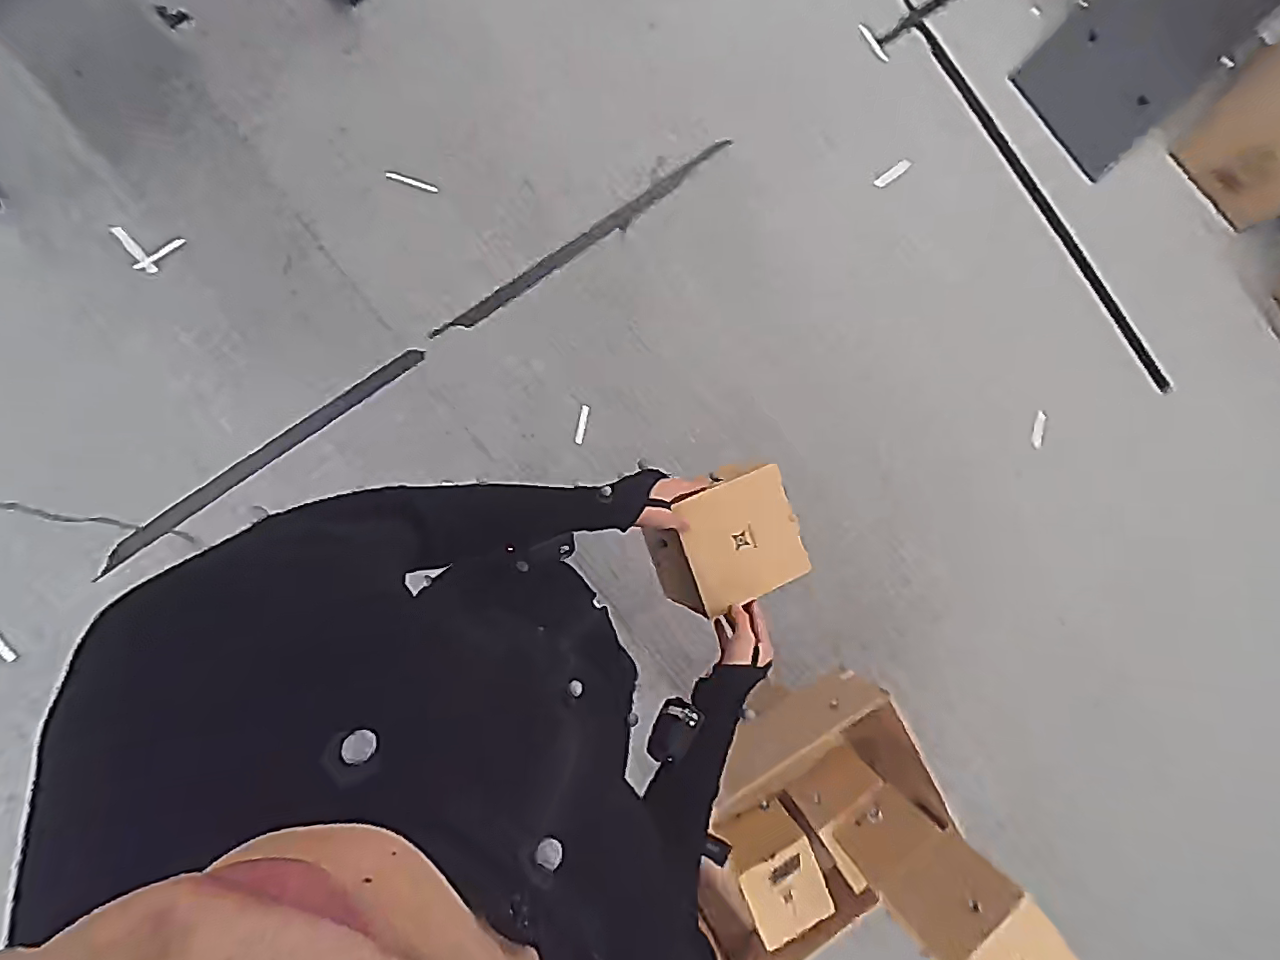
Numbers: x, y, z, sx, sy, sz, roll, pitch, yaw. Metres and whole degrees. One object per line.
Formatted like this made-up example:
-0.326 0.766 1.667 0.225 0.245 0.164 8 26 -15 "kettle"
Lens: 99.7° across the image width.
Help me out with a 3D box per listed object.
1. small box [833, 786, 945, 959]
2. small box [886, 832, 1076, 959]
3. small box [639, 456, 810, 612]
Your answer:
0.521 0.754 1.060 0.168 0.176 0.179 -38 96 -8 "small box"
0.557 0.745 0.900 0.179 0.176 0.168 -37 95 -8 "small box"
0.113 0.075 0.808 0.179 0.176 0.168 -22 95 -18 "small box"
